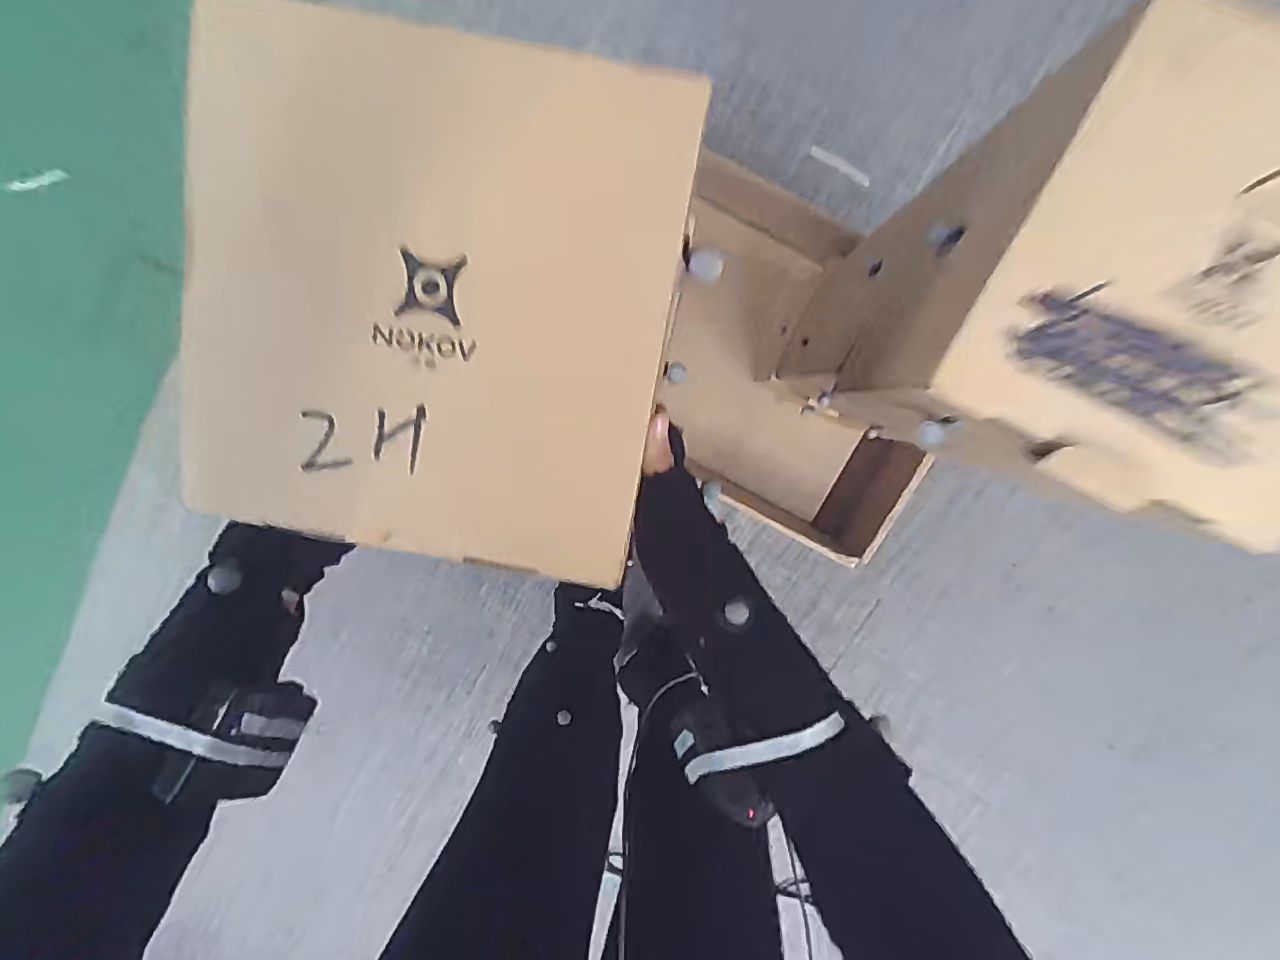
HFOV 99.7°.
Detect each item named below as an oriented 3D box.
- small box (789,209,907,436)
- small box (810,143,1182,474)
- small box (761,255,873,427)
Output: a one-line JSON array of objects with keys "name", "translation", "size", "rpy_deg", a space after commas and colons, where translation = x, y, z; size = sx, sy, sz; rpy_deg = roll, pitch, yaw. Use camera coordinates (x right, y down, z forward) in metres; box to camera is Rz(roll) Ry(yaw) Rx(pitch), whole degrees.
[{"name": "small box", "translation": [0.283, -0.157, 0.604], "size": [0.168, 0.176, 0.179], "rpy_deg": [29, 100, 0]}, {"name": "small box", "translation": [0.265, -0.129, 0.460], "size": [0.168, 0.176, 0.179], "rpy_deg": [29, 100, -1]}, {"name": "small box", "translation": [0.287, -0.190, 0.783], "size": [0.168, 0.176, 0.179], "rpy_deg": [25, 100, 3]}]
